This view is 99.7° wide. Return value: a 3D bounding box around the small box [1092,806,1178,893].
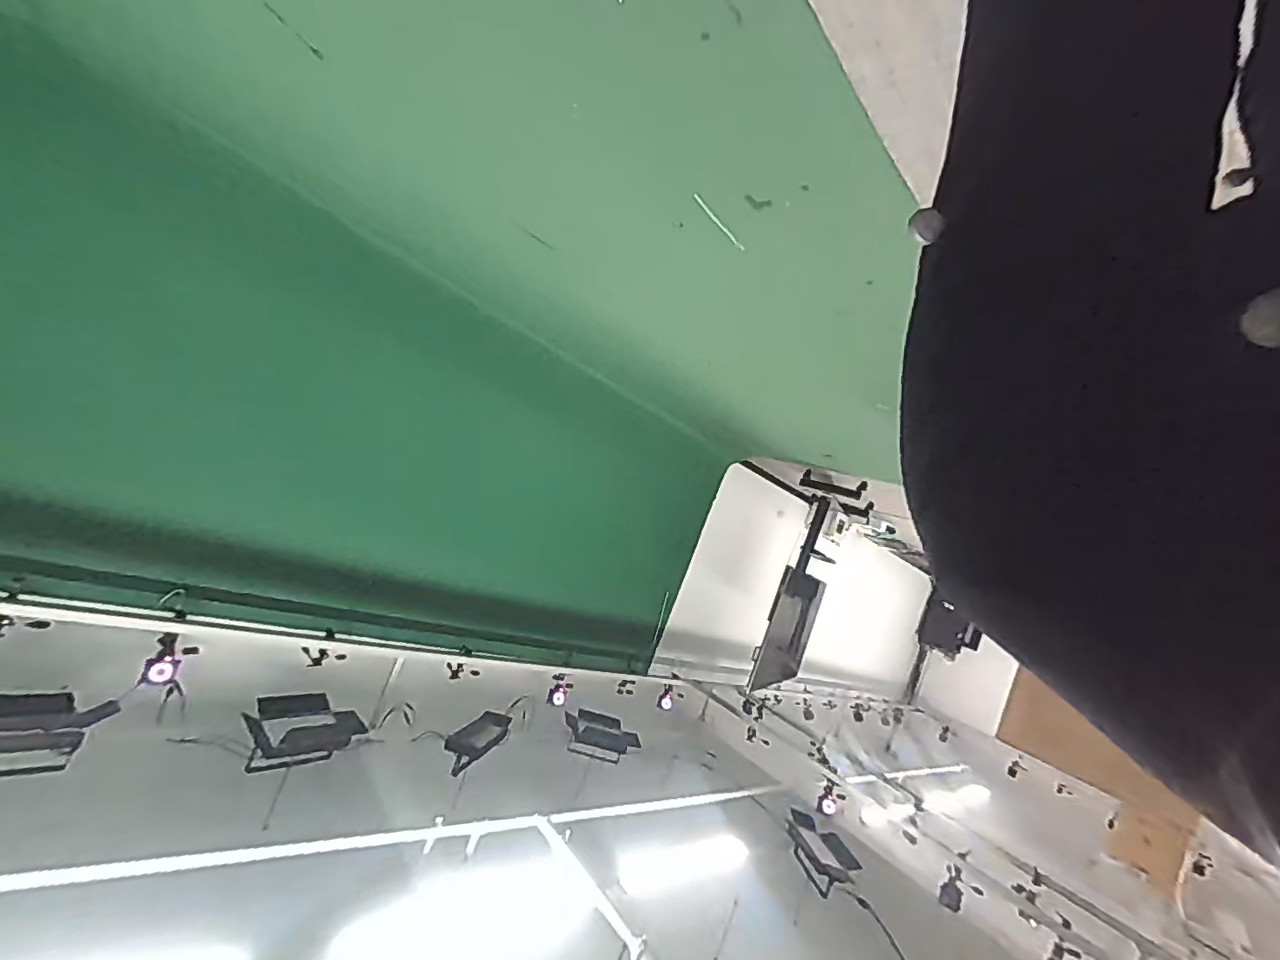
[{"bbox_3d":[1.579,1.168,1.723,0.179,0.176,0.168,29,173,-38],"label":"small box"}]
